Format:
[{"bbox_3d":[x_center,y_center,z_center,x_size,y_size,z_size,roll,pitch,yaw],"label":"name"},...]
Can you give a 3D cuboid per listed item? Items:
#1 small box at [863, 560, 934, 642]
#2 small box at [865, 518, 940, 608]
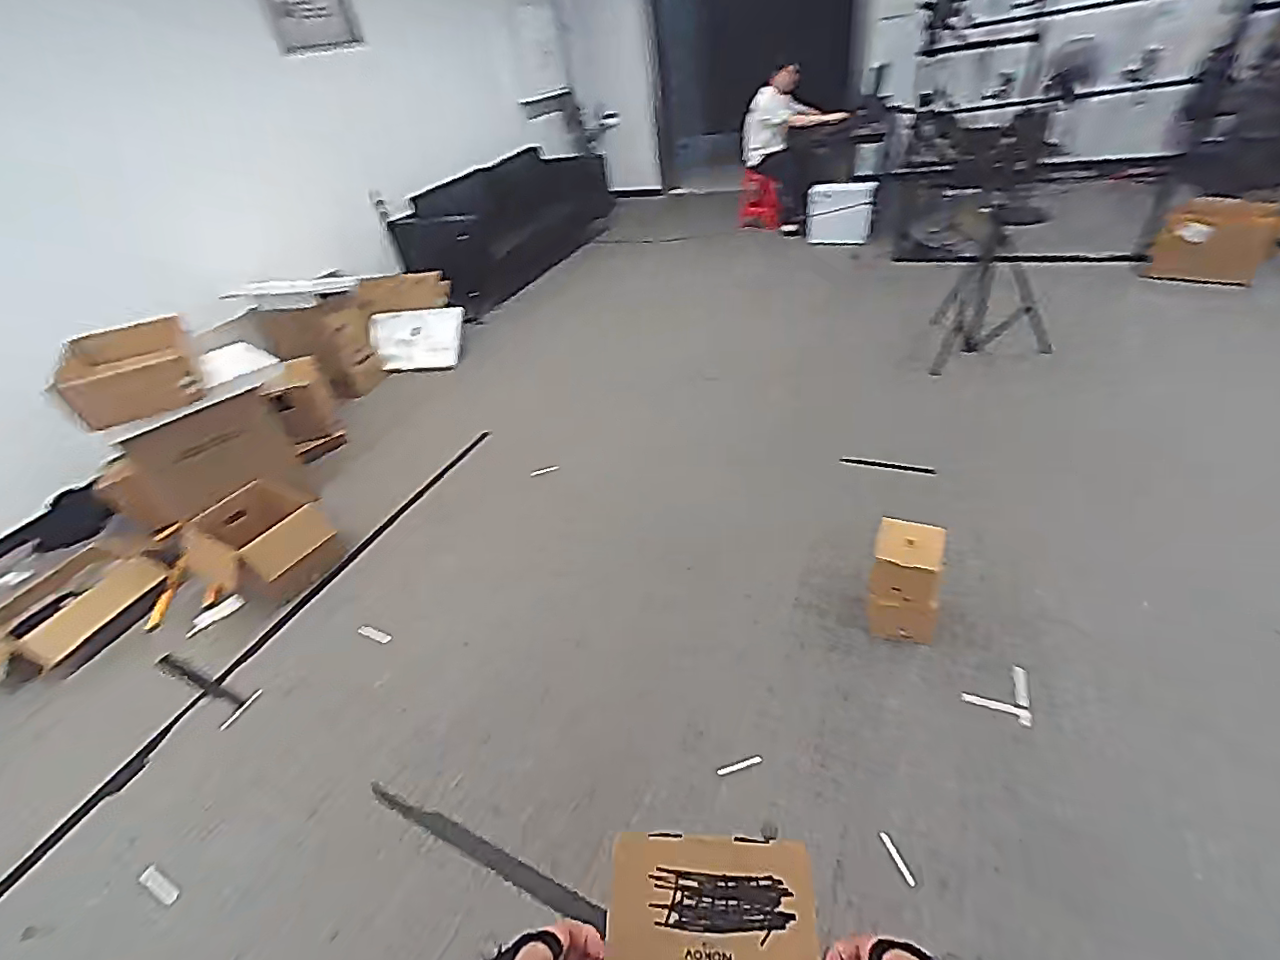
[{"bbox_3d":[0.790,0.372,1.672,0.168,0.176,0.179,1,40,15],"label":"small box"},{"bbox_3d":[0.763,0.241,1.578,0.168,0.176,0.179,10,43,24],"label":"small box"}]
